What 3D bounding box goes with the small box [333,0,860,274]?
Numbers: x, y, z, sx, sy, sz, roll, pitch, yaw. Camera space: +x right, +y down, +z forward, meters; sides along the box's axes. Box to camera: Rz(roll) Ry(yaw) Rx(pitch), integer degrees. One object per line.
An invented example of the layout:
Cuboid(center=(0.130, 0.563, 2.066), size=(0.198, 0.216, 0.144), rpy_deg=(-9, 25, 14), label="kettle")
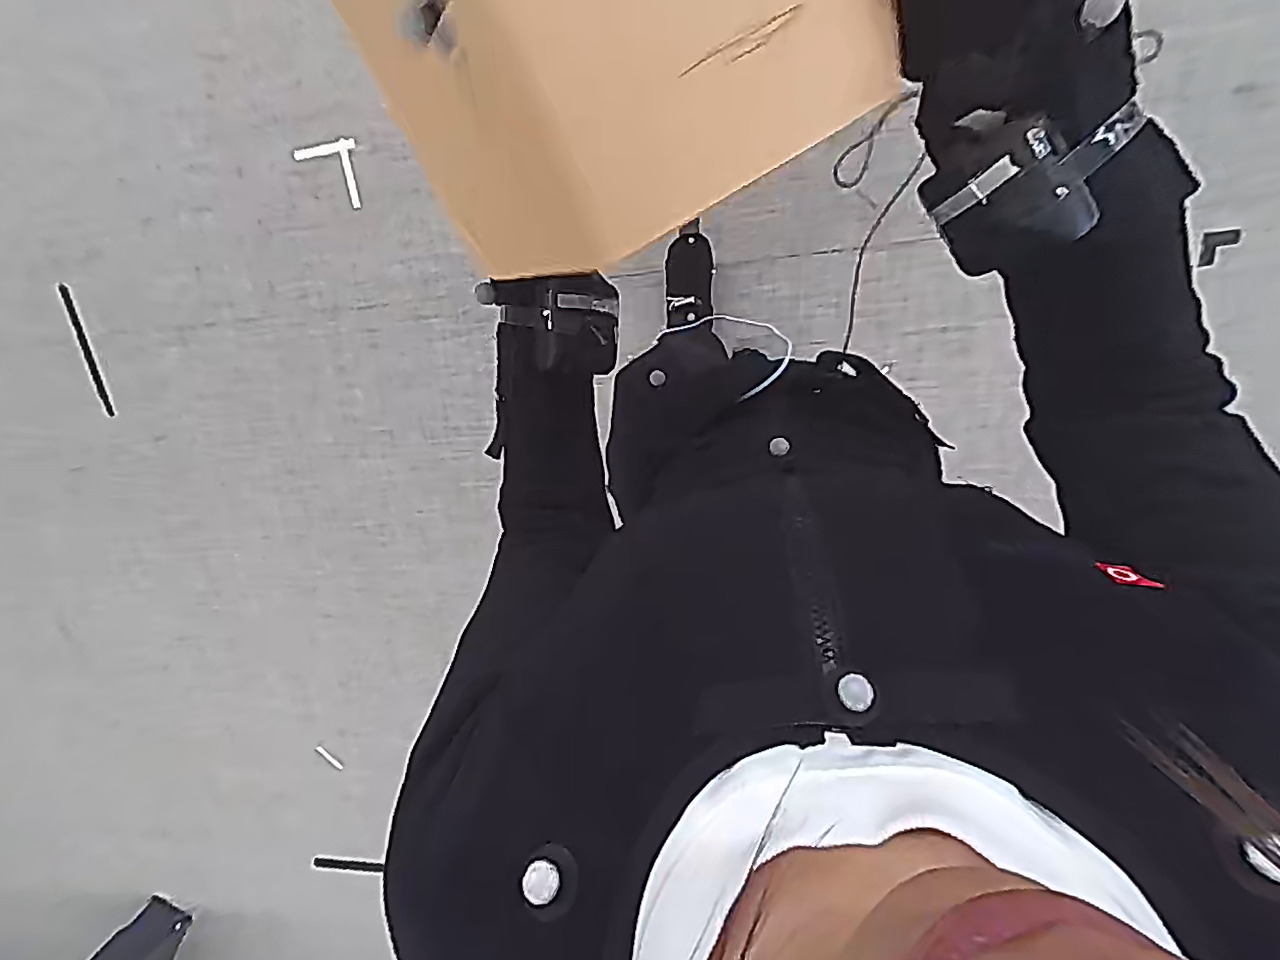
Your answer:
Cuboid(center=(-0.032, -0.216, 0.261), size=(0.168, 0.176, 0.179), rpy_deg=(-35, 120, -12), label="small box")
